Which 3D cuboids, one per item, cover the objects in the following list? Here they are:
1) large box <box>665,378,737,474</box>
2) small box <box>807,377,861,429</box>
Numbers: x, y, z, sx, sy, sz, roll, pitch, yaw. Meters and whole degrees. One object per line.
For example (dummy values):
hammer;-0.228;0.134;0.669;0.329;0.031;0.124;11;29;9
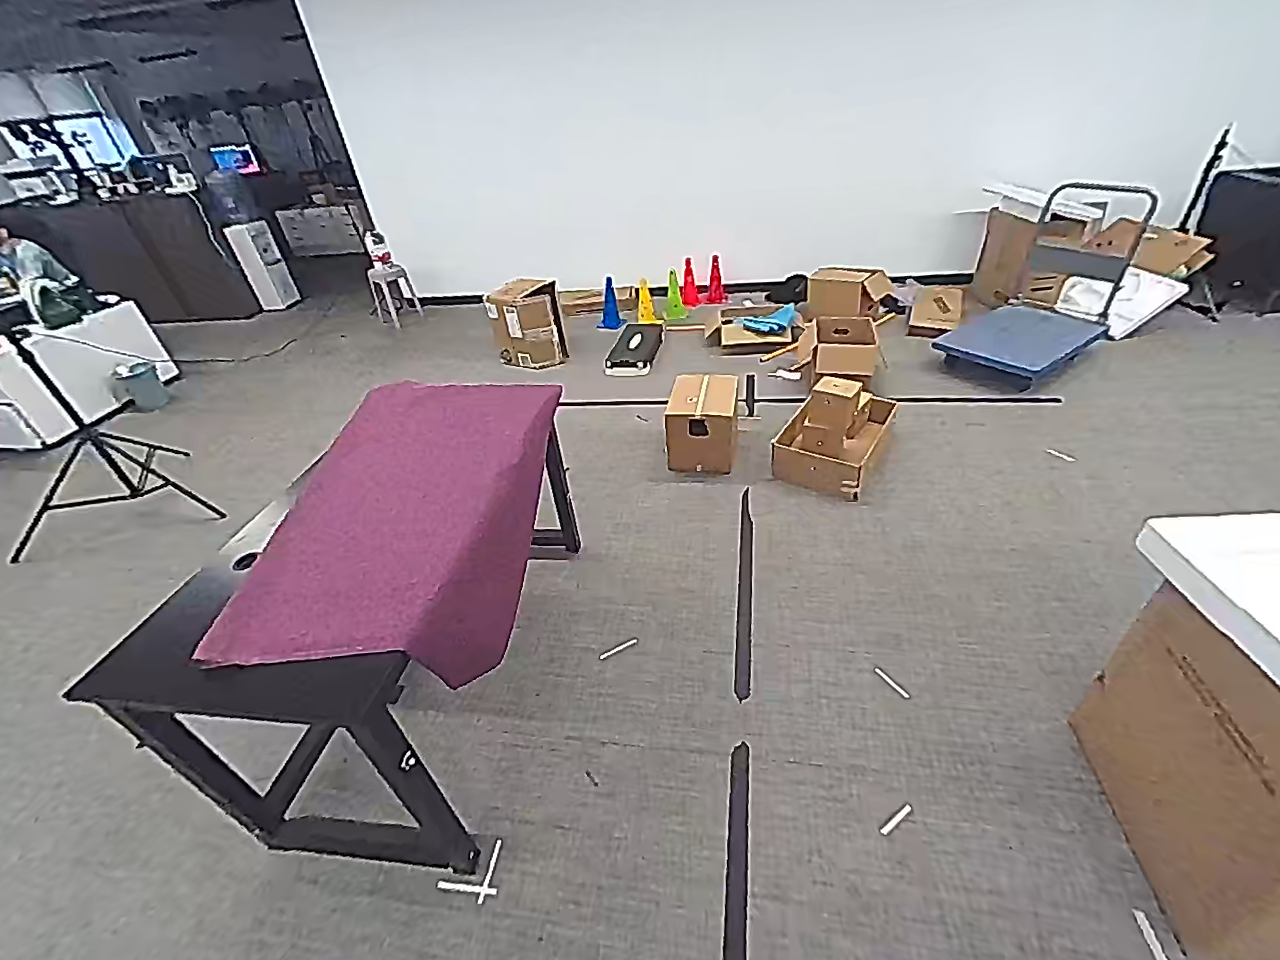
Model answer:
large box;0.311;-0.272;2.663;0.320;0.320;0.408;2;38;13
small box;0.868;-0.345;2.434;0.179;0.176;0.168;19;41;30
